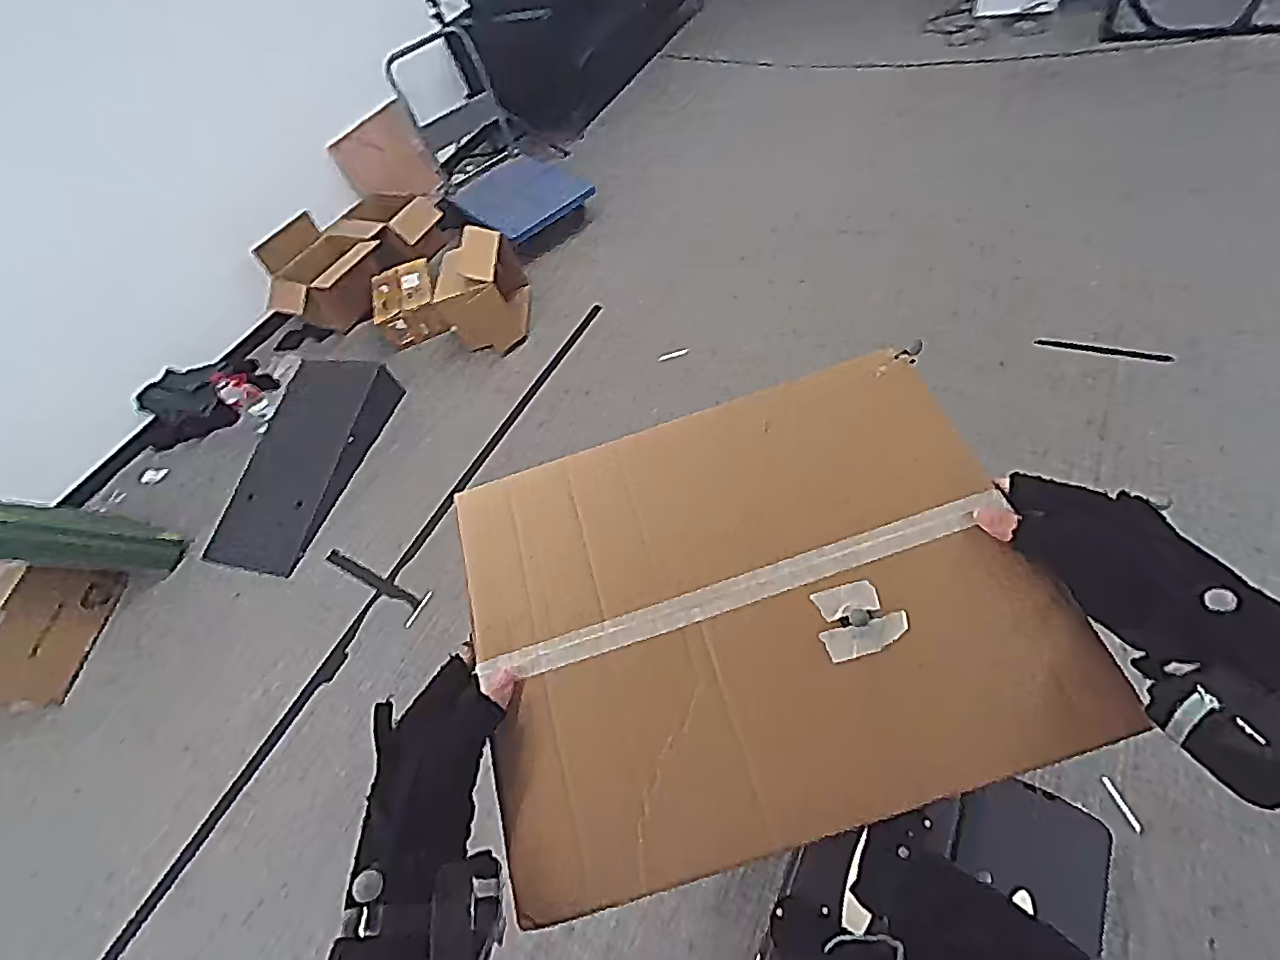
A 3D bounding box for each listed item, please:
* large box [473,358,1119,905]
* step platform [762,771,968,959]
[{"bbox_3d":[0.101,0.147,0.545,0.408,0.320,0.320,-18,64,1],"label":"large box"},{"bbox_3d":[0.502,0.826,1.190,0.286,0.204,0.684,17,61,25],"label":"step platform"}]
